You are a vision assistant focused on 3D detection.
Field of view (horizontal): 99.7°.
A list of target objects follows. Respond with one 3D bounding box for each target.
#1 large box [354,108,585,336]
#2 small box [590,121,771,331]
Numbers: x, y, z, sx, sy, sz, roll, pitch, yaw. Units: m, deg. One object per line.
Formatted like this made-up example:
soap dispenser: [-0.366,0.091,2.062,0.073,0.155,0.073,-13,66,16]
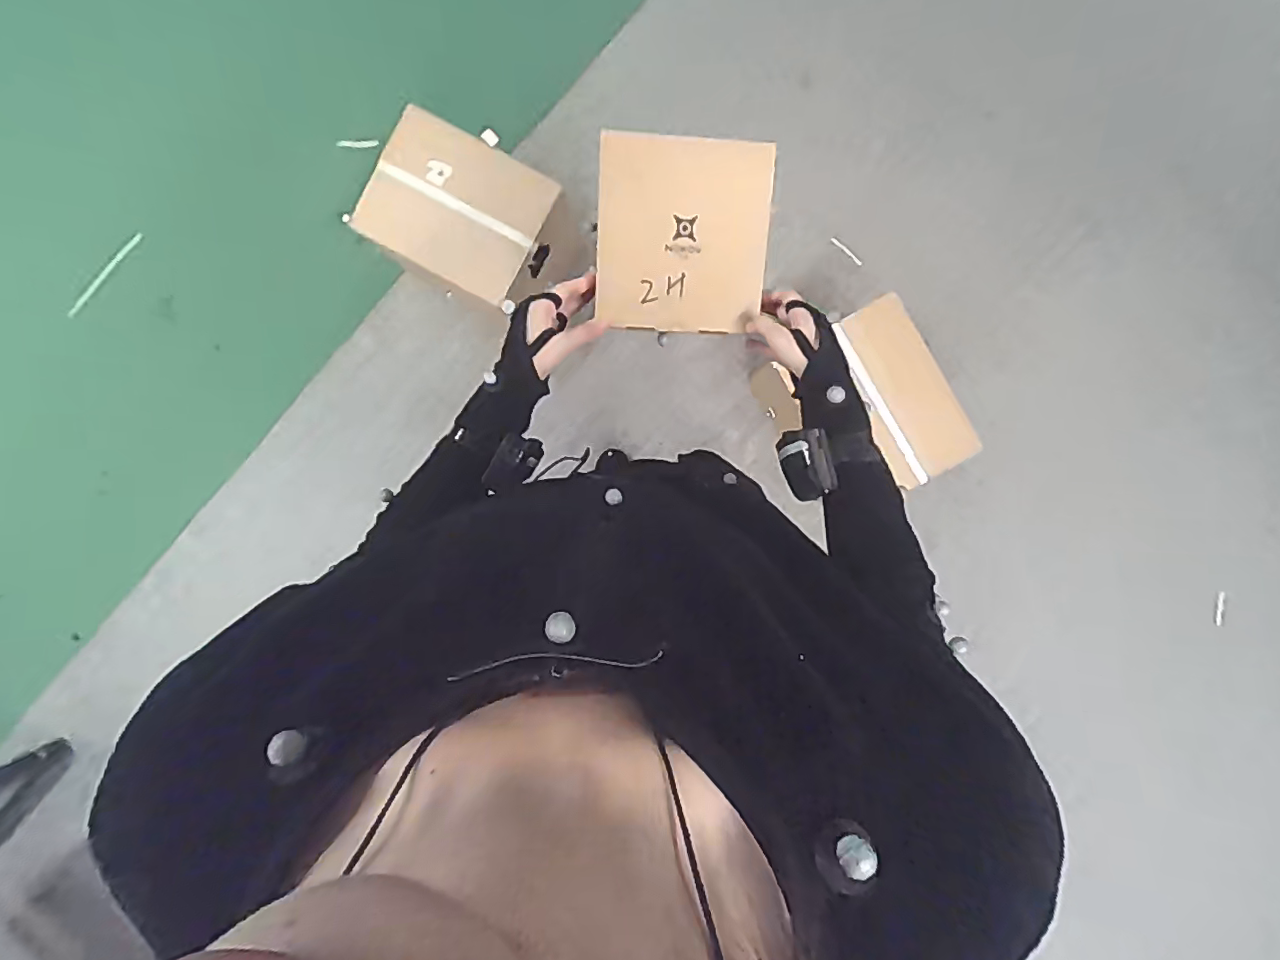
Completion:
large box: [-0.399,-0.618,1.364,0.408,0.320,0.320,29,91,2]
small box: [0.031,-0.258,0.590,0.168,0.176,0.179,2,106,-4]
